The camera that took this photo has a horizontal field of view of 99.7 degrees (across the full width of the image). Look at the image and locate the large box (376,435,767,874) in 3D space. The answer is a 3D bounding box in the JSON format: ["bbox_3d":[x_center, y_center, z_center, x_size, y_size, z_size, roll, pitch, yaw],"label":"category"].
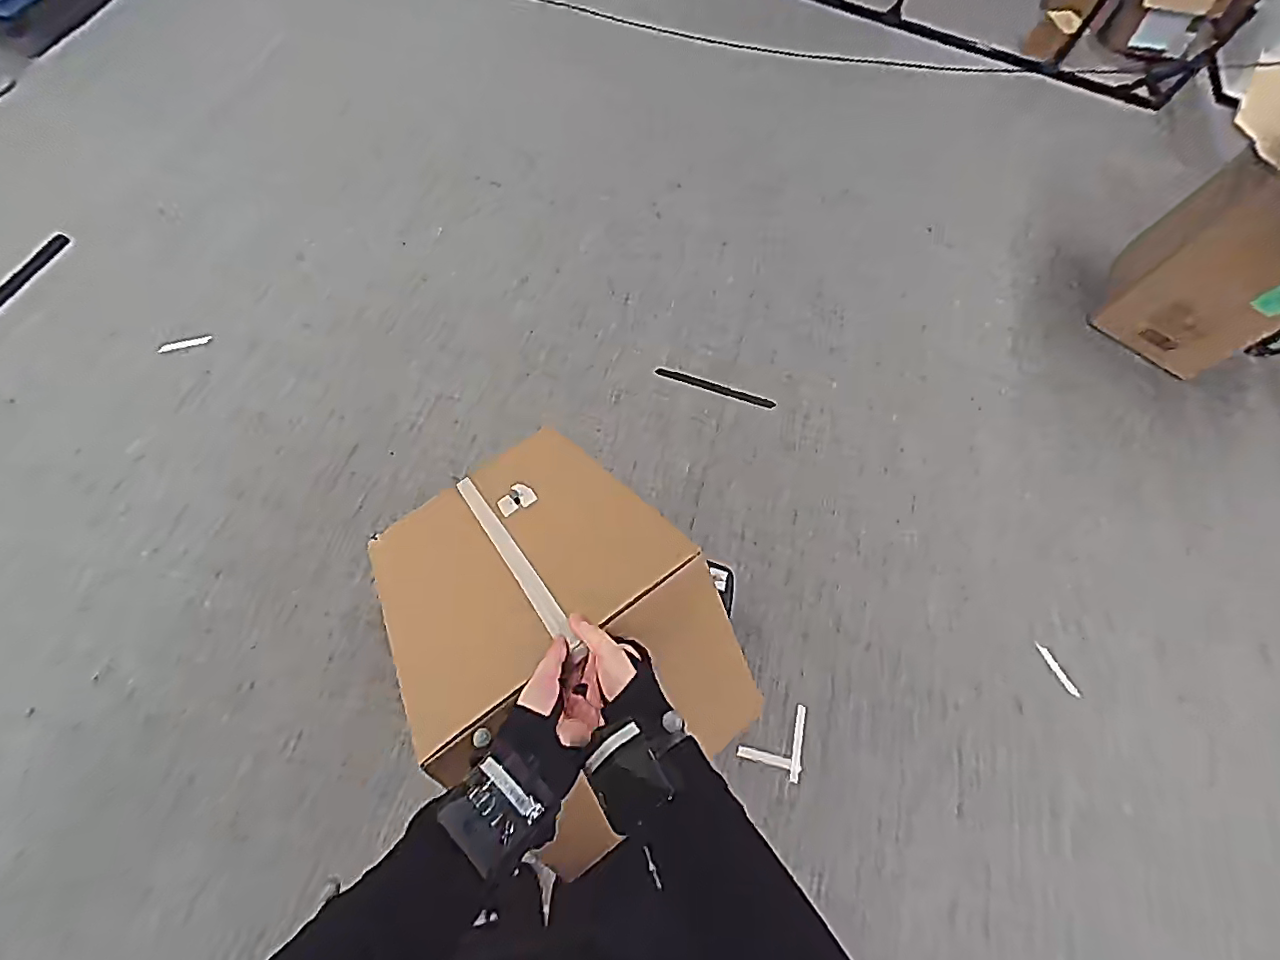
[{"bbox_3d":[-0.101,0.194,0.728,0.320,0.320,0.408,-34,35,-15],"label":"large box"}]
